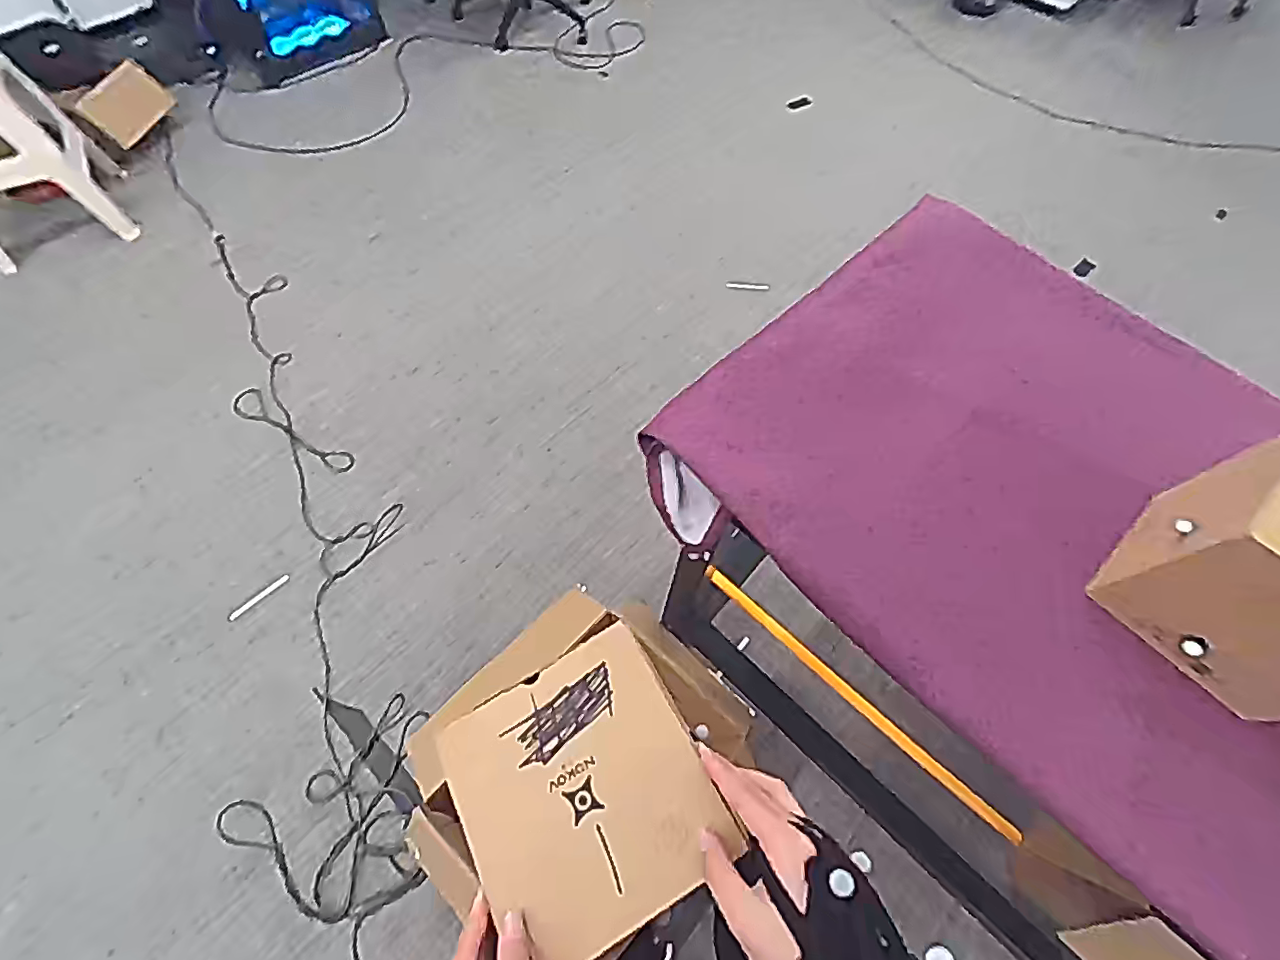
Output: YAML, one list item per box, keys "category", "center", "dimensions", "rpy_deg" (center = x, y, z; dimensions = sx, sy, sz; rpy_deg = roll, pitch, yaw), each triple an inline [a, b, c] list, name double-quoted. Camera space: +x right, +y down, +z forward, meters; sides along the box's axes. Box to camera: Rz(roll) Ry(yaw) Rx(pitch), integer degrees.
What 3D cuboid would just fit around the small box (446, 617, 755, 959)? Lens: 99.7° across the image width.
- category: "small box"
  center: [-0.026, 0.246, 0.443]
  dimensions: [0.168, 0.176, 0.179]
  rpy_deg: [-29, 61, -7]
